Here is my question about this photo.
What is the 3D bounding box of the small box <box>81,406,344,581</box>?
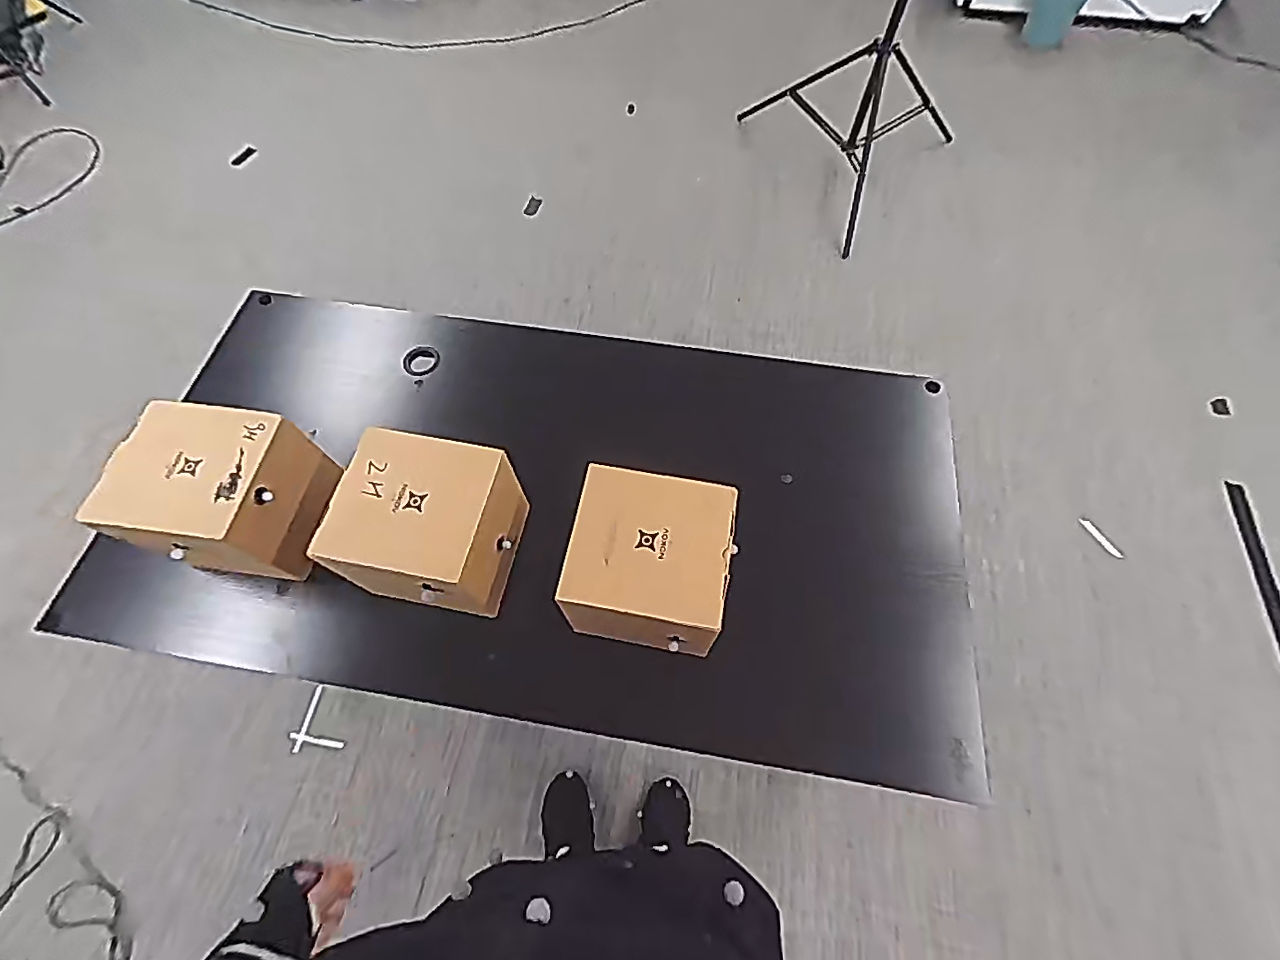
[{"bbox_3d":[-0.529,0.025,0.704,0.179,0.176,0.168,6,64,4],"label":"small box"}]

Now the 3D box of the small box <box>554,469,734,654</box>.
[{"bbox_3d":[0.010,0.107,0.662,0.179,0.176,0.168,8,63,6],"label":"small box"}]

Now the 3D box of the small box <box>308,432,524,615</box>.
[{"bbox_3d":[-0.260,0.063,0.682,0.179,0.176,0.168,9,64,5],"label":"small box"}]
